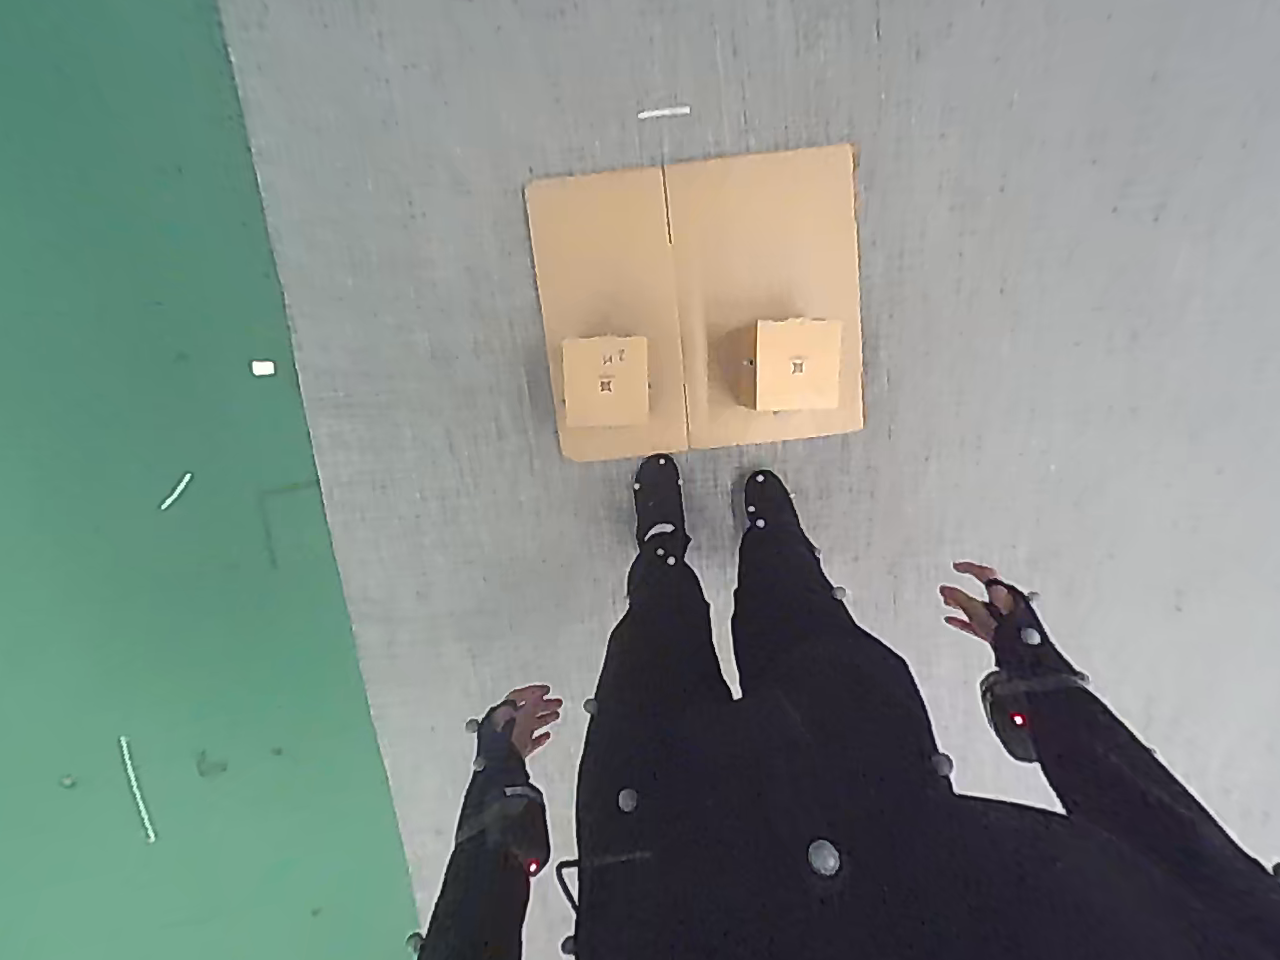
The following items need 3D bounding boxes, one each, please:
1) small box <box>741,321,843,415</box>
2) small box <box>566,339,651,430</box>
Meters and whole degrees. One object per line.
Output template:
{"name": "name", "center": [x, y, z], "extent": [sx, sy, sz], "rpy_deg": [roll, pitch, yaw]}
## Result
{"name": "small box", "center": [0.309, -0.231, 1.127], "extent": [0.168, 0.176, 0.179], "rpy_deg": [-2, 99, 0]}
{"name": "small box", "center": [-0.060, -0.200, 1.132], "extent": [0.168, 0.176, 0.179], "rpy_deg": [-1, 100, -1]}
